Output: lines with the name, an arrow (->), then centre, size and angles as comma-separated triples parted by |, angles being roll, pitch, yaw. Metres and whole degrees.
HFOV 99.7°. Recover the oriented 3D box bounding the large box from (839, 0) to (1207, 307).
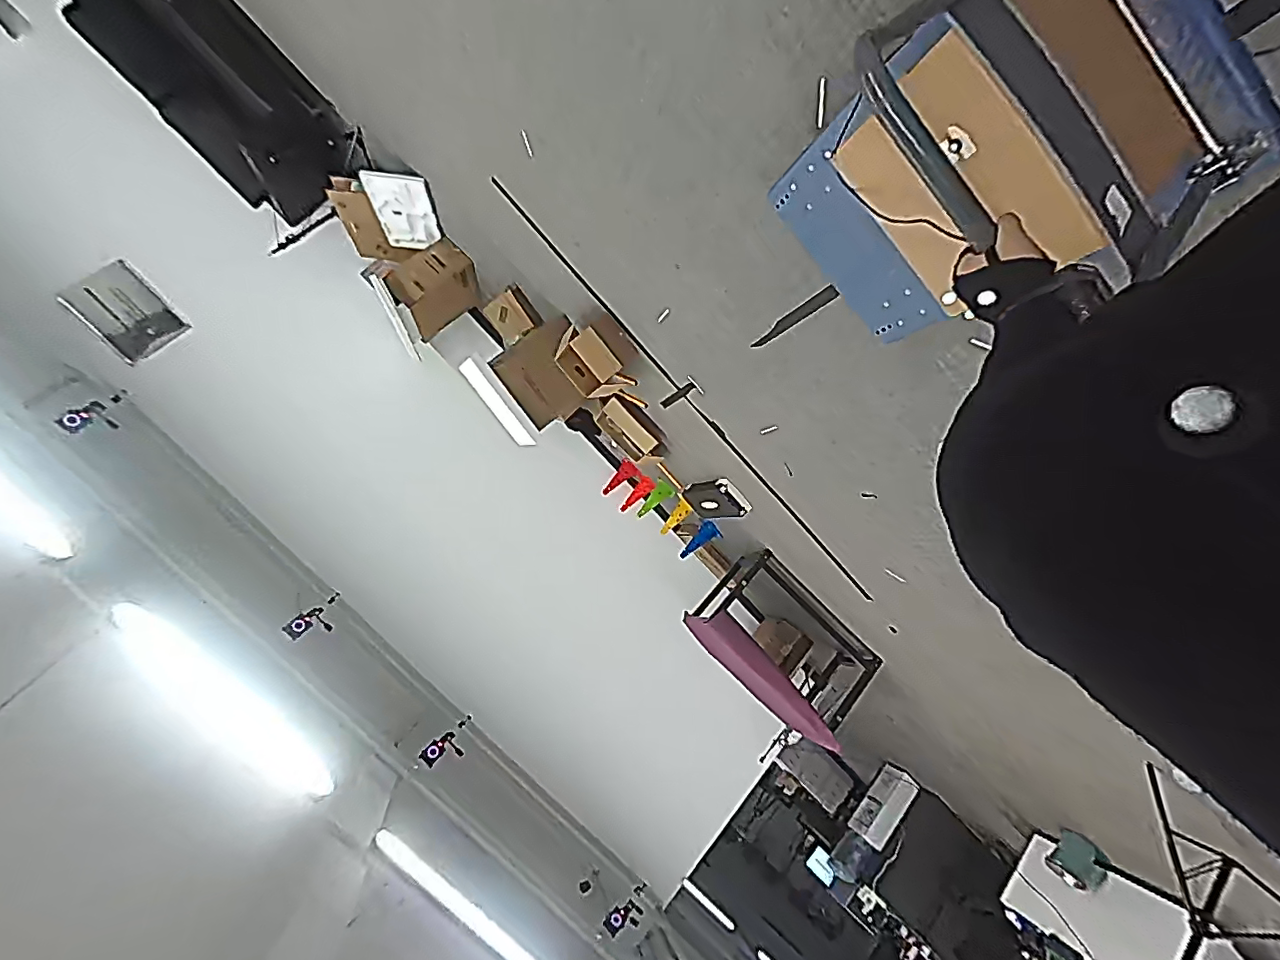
large box -> 0.661, -0.605, 0.965 | 0.408, 0.320, 0.320 | 48, 163, -7
